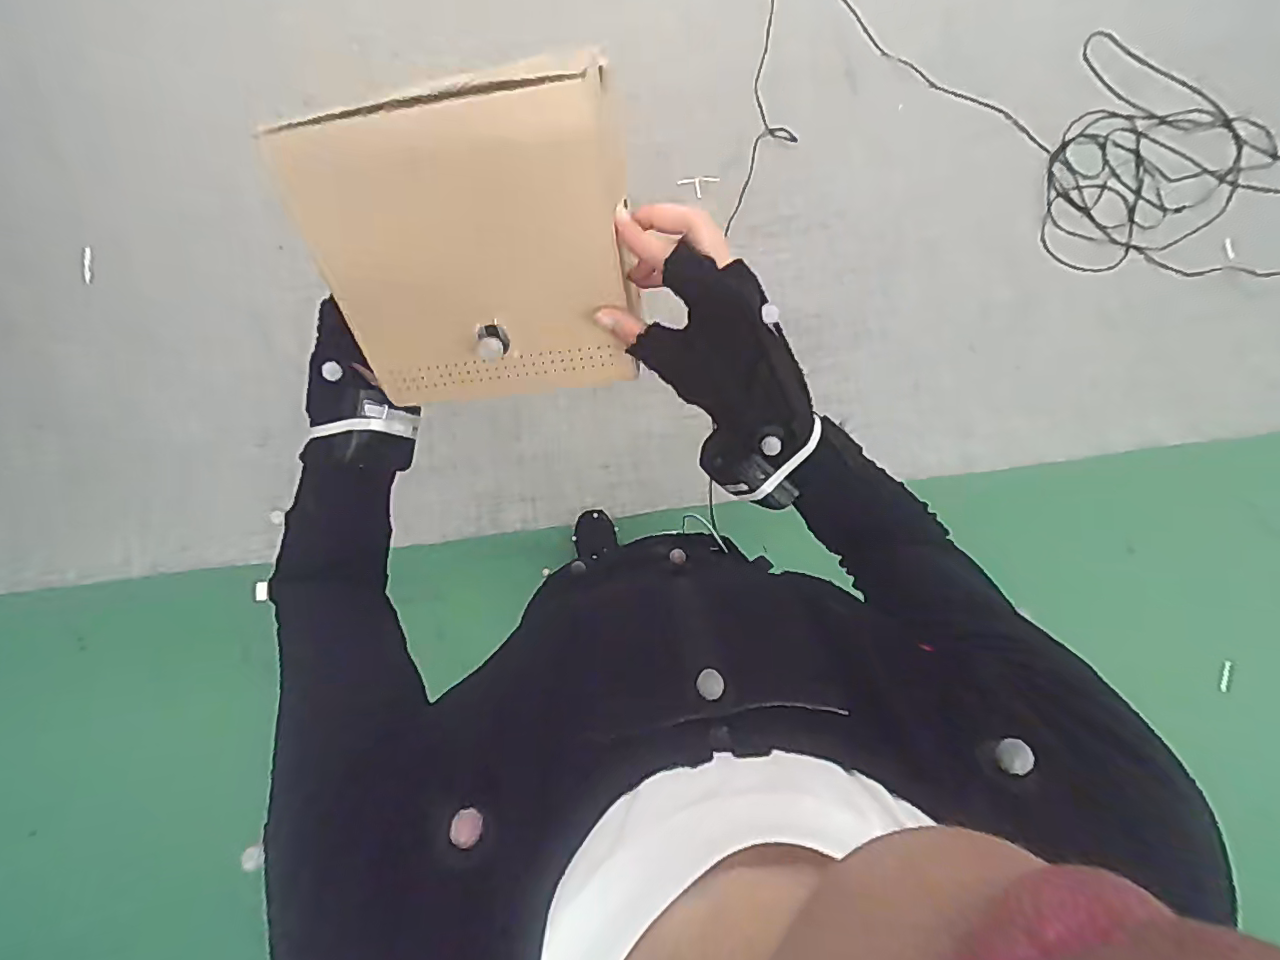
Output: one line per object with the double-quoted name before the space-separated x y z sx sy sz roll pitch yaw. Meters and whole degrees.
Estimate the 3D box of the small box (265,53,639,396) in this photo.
"small box" -0.097 -0.177 0.383 0.179 0.176 0.168 -6 40 7
